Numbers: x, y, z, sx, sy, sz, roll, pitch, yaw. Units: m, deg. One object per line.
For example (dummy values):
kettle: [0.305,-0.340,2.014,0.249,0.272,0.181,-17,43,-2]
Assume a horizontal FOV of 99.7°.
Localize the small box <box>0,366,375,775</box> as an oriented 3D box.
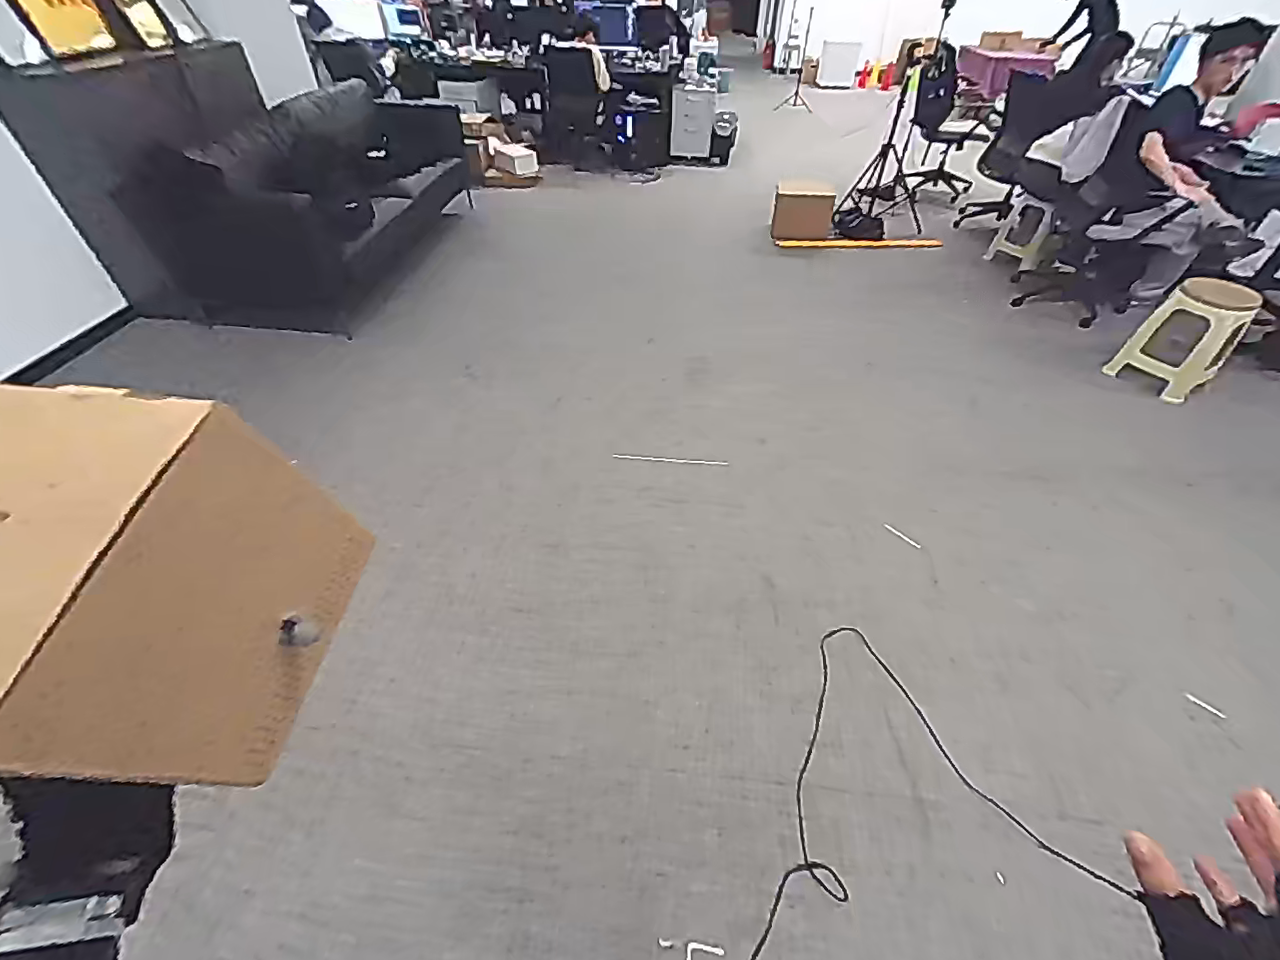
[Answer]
small box: [-0.293,0.059,0.321,0.168,0.176,0.179,6,60,11]
